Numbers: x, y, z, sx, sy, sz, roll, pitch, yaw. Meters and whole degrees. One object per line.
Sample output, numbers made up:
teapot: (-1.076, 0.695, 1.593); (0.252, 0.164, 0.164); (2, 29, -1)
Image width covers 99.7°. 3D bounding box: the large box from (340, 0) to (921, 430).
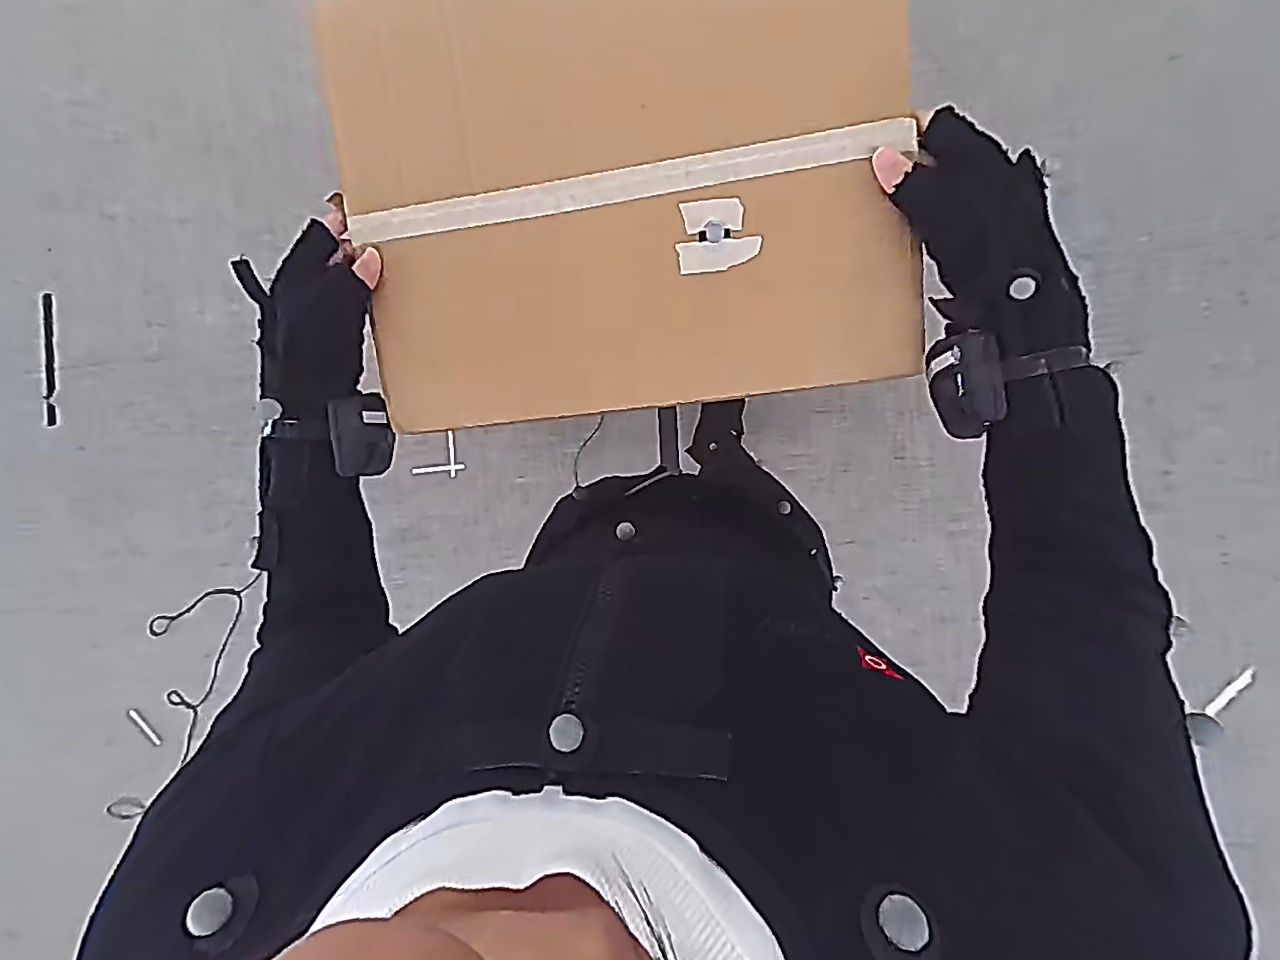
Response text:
large box: (0.003, -0.237, 0.544); (0.408, 0.320, 0.320); (-7, 99, 7)
